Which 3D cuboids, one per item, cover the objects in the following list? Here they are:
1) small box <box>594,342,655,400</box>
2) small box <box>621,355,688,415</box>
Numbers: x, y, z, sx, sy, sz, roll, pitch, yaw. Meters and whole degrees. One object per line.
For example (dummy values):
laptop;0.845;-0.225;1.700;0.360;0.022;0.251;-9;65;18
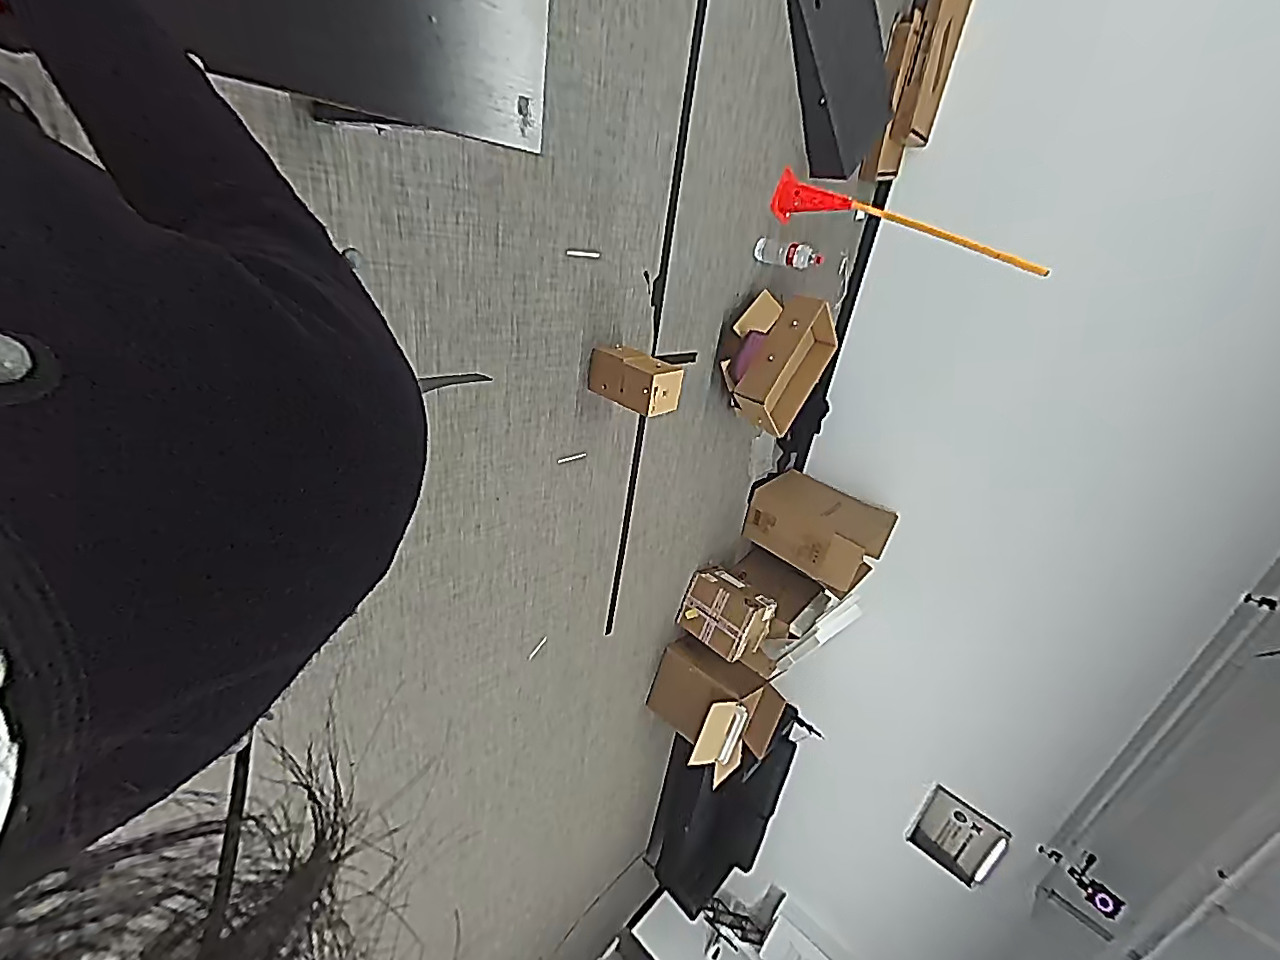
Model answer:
small box;-0.066;-0.433;2.134;0.168;0.176;0.179;-20;128;-45
small box;0.052;-0.365;2.041;0.179;0.176;0.168;-23;131;-44
